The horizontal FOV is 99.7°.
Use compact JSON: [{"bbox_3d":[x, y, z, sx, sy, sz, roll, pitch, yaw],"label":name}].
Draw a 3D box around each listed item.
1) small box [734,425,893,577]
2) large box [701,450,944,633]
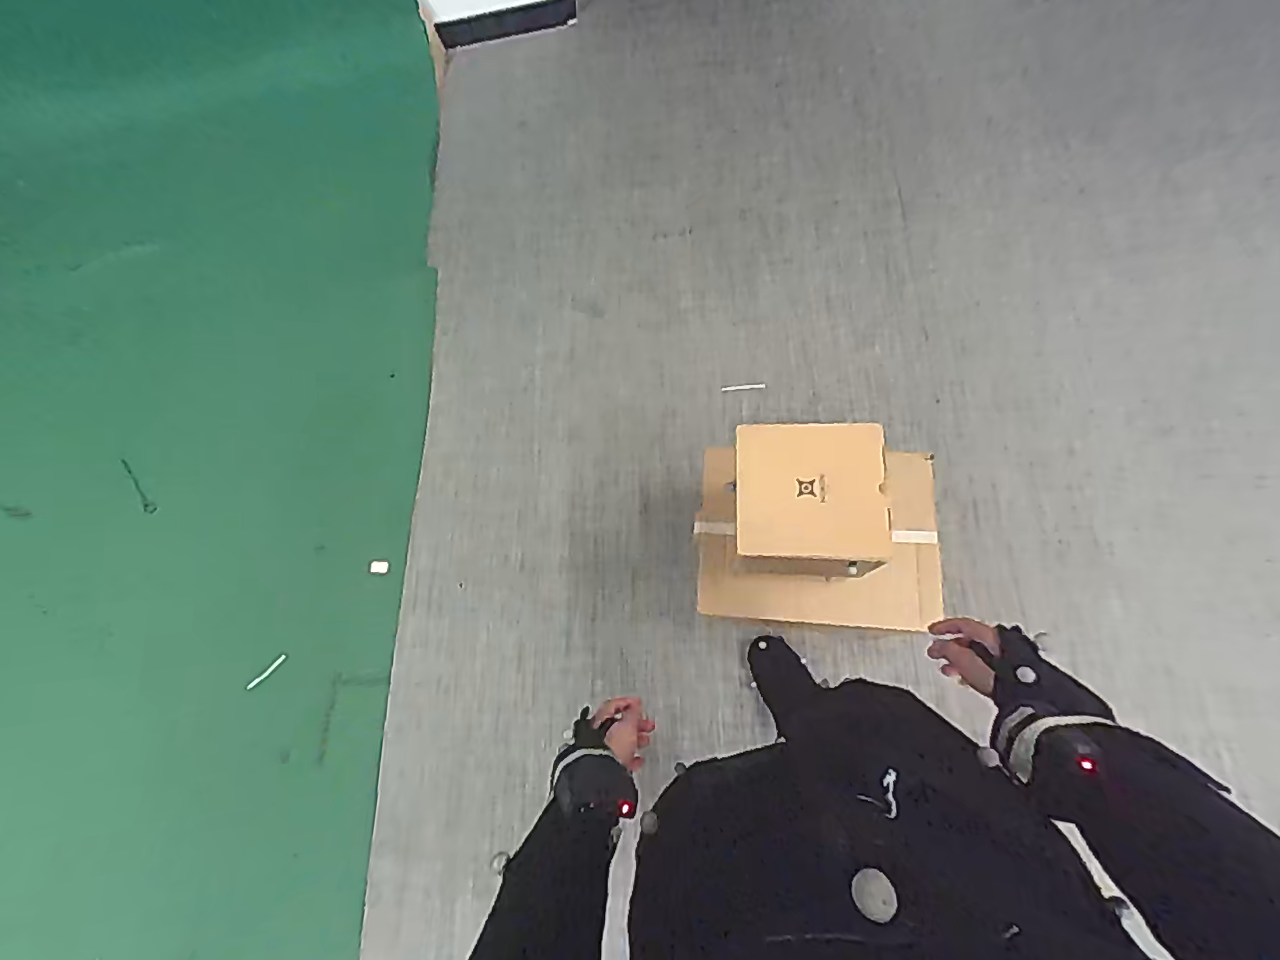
[{"bbox_3d":[0.214,0.035,0.713,0.179,0.176,0.168,0,73,8],"label":"small box"},{"bbox_3d":[0.330,0.137,1.094,0.408,0.320,0.320,2,74,9],"label":"large box"}]
